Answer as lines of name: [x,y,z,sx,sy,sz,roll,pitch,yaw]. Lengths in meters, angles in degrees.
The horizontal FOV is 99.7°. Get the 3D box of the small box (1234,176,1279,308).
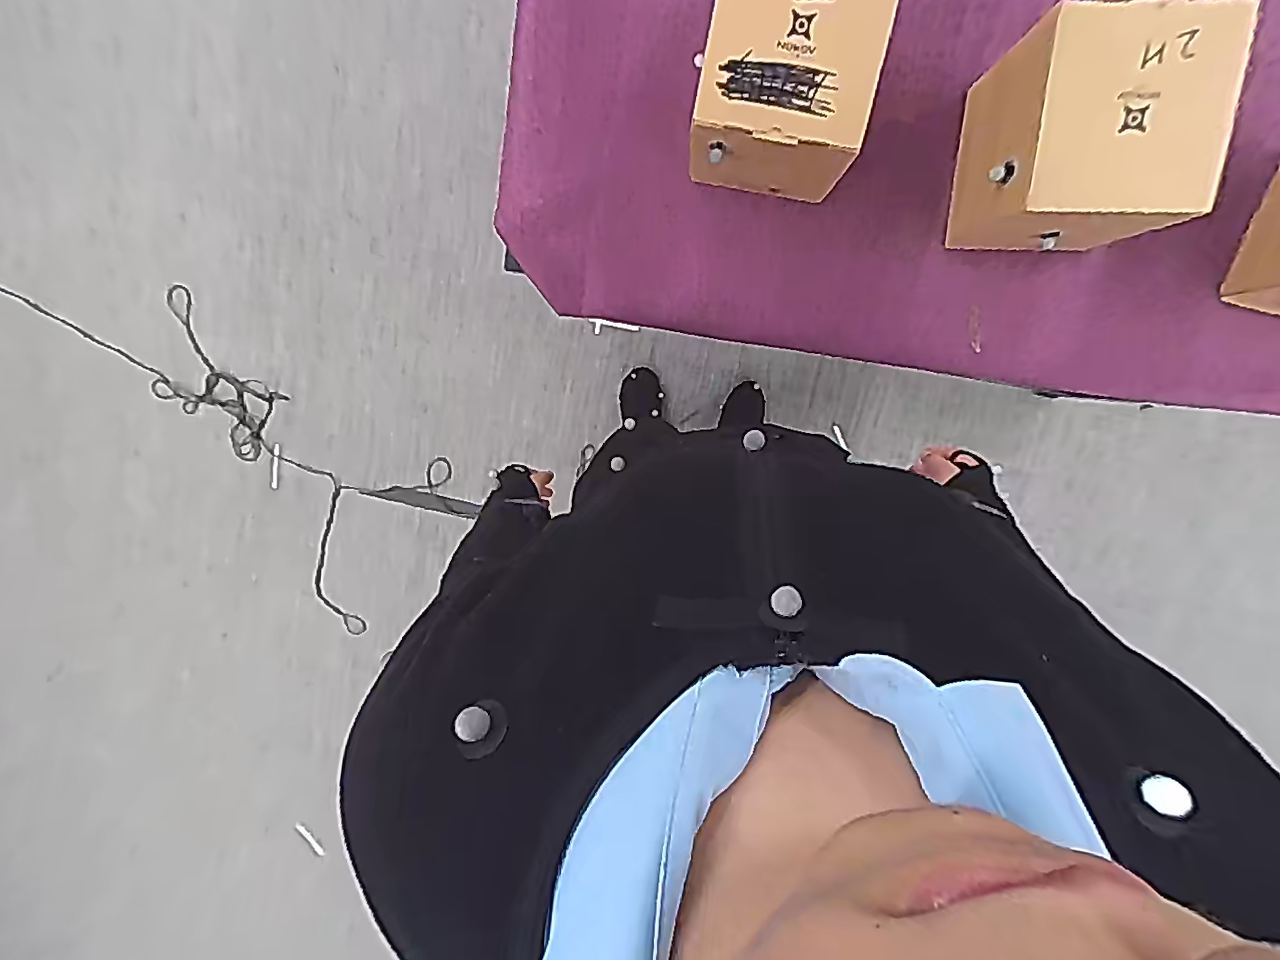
small box: [0.792,-0.271,0.550,0.168,0.176,0.179,16,102,2]

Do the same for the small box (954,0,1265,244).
small box: [0.457,-0.354,0.563,0.168,0.176,0.179,3,102,4]
